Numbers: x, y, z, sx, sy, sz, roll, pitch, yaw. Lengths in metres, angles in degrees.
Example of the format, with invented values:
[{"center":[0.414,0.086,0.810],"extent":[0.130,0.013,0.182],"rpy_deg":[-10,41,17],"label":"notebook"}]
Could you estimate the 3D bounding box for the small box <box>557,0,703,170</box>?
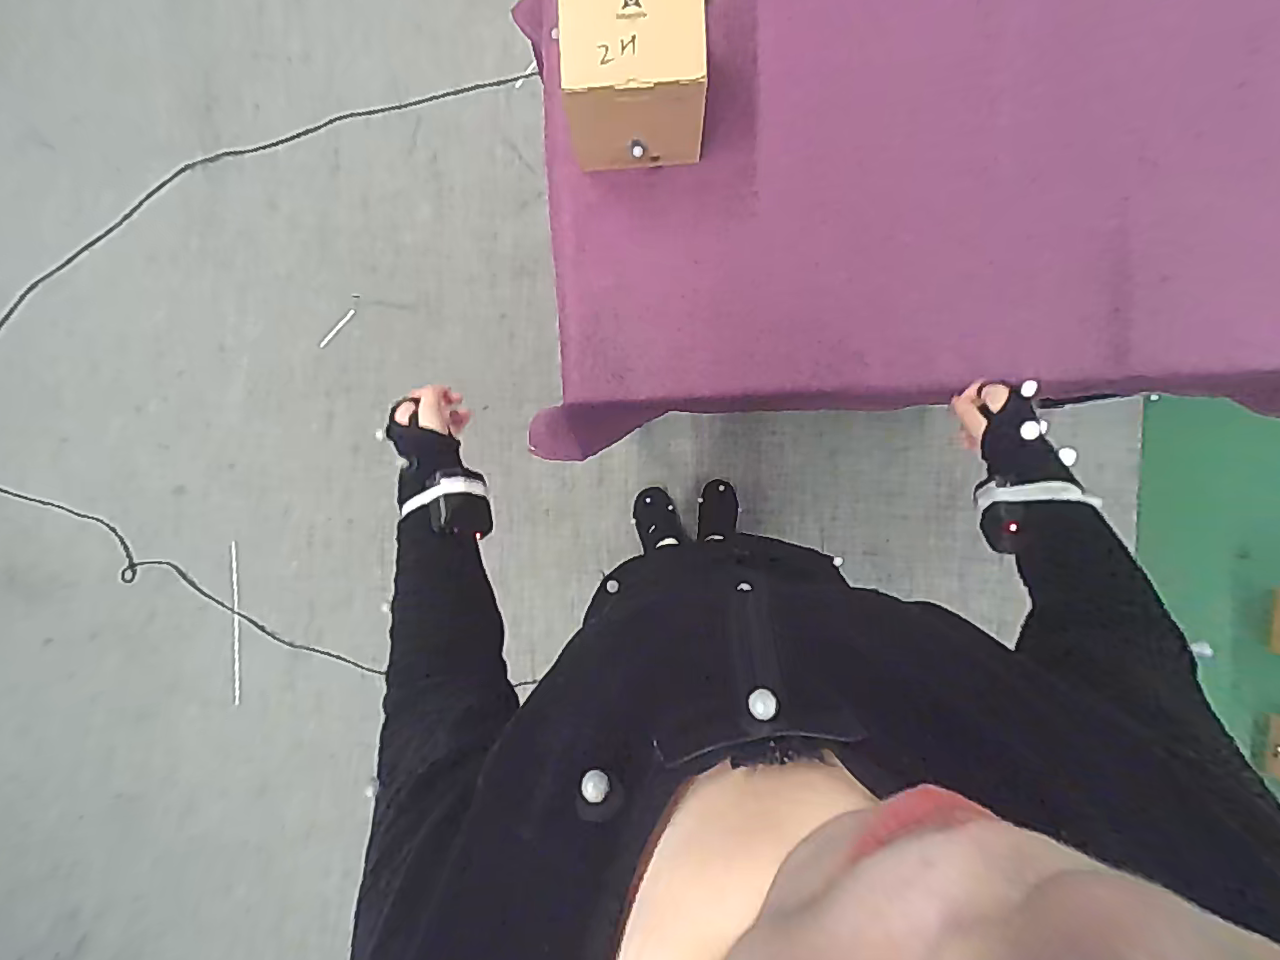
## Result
[{"center":[-0.009,-0.529,0.686],"extent":[0.168,0.176,0.179],"rpy_deg":[-2,91,4],"label":"small box"}]
